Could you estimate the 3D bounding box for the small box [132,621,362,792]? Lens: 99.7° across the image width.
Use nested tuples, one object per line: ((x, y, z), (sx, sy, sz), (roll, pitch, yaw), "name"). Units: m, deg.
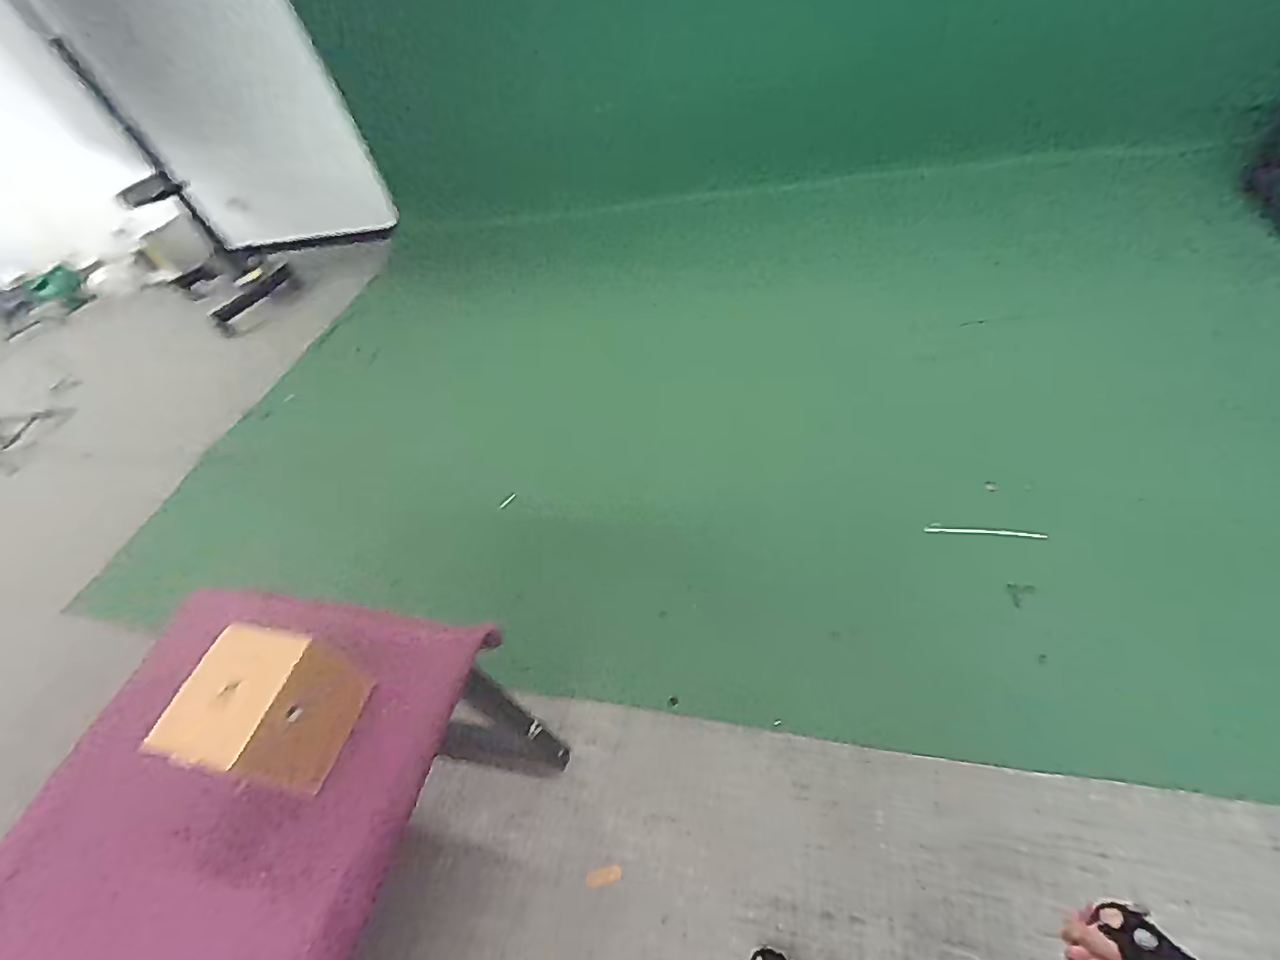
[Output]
((-0.550, 0.332, 0.787), (0.168, 0.176, 0.179), (3, 51, 18), "small box")
